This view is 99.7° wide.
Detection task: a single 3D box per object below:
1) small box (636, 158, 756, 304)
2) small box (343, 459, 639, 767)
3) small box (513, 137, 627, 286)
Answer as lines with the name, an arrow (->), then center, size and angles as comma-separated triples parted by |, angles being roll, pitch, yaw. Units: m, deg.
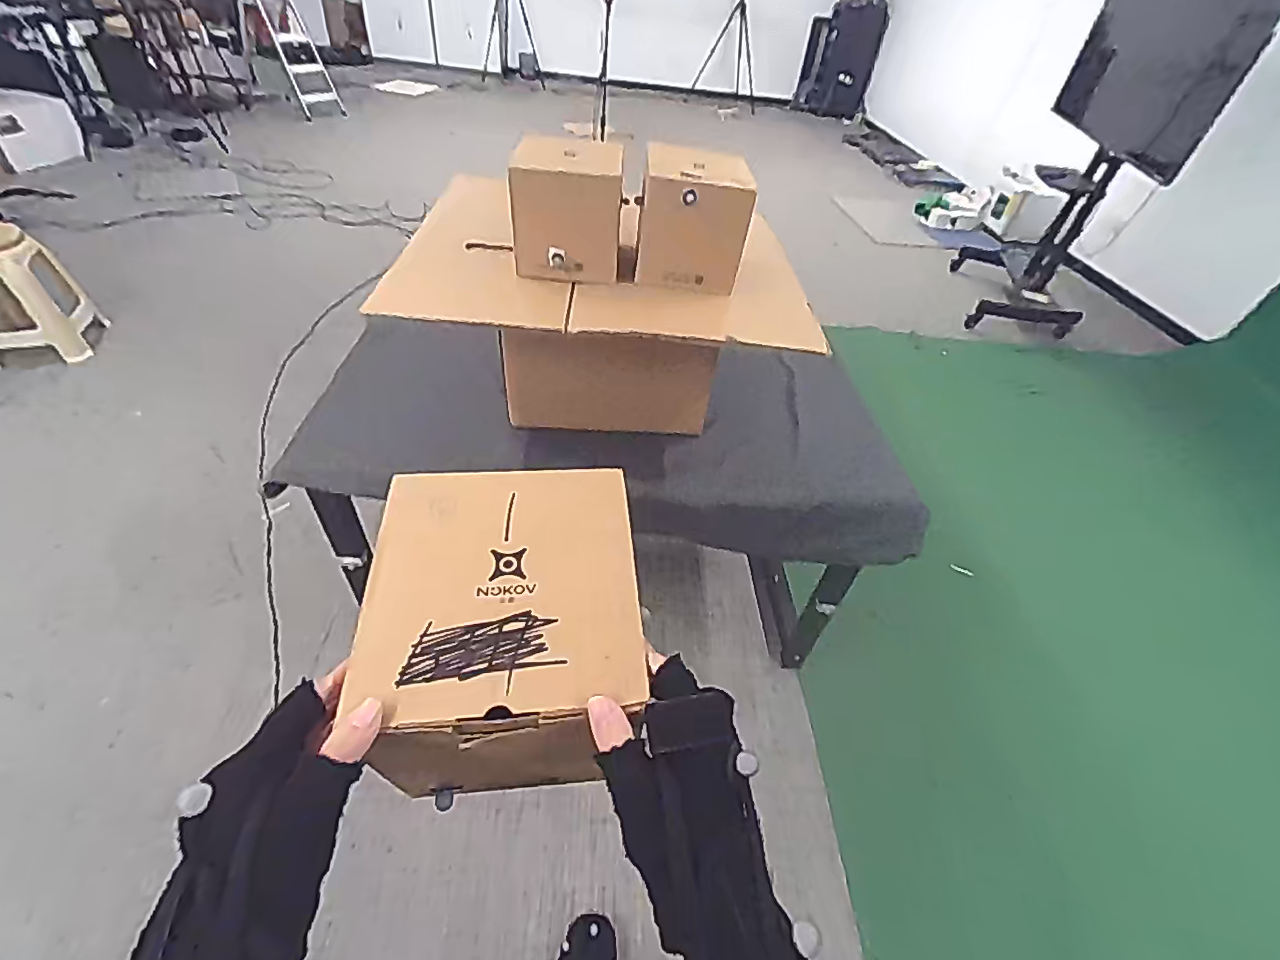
small box -> 0.084, -0.423, 0.920 | 0.168, 0.176, 0.179 | 5, 43, -5
small box -> -0.092, 0.104, 0.411 | 0.168, 0.176, 0.179 | -1, 48, -7
small box -> -0.109, -0.444, 0.896 | 0.168, 0.176, 0.179 | 2, 45, -3
